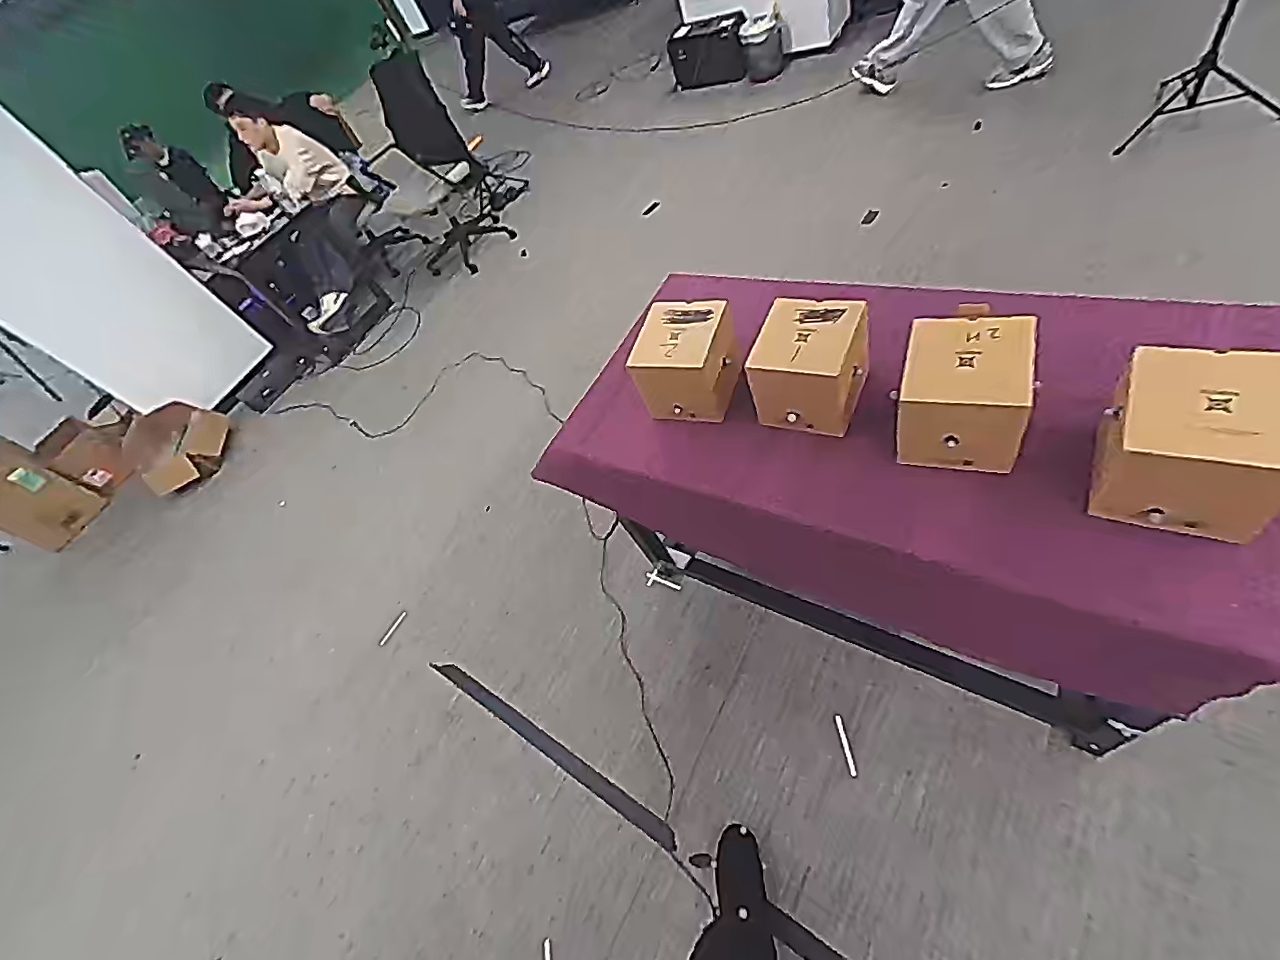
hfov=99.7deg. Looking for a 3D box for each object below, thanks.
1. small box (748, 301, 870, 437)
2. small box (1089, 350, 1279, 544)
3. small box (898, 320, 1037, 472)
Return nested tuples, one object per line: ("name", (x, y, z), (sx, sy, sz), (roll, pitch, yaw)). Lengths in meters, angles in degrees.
("small box", (0.321, -0.207, 1.010), (0.168, 0.176, 0.179), (14, 64, 31))
("small box", (0.723, -0.044, 0.713), (0.168, 0.176, 0.179), (14, 62, 32))
("small box", (0.518, -0.132, 0.868), (0.168, 0.176, 0.179), (8, 60, 28))
